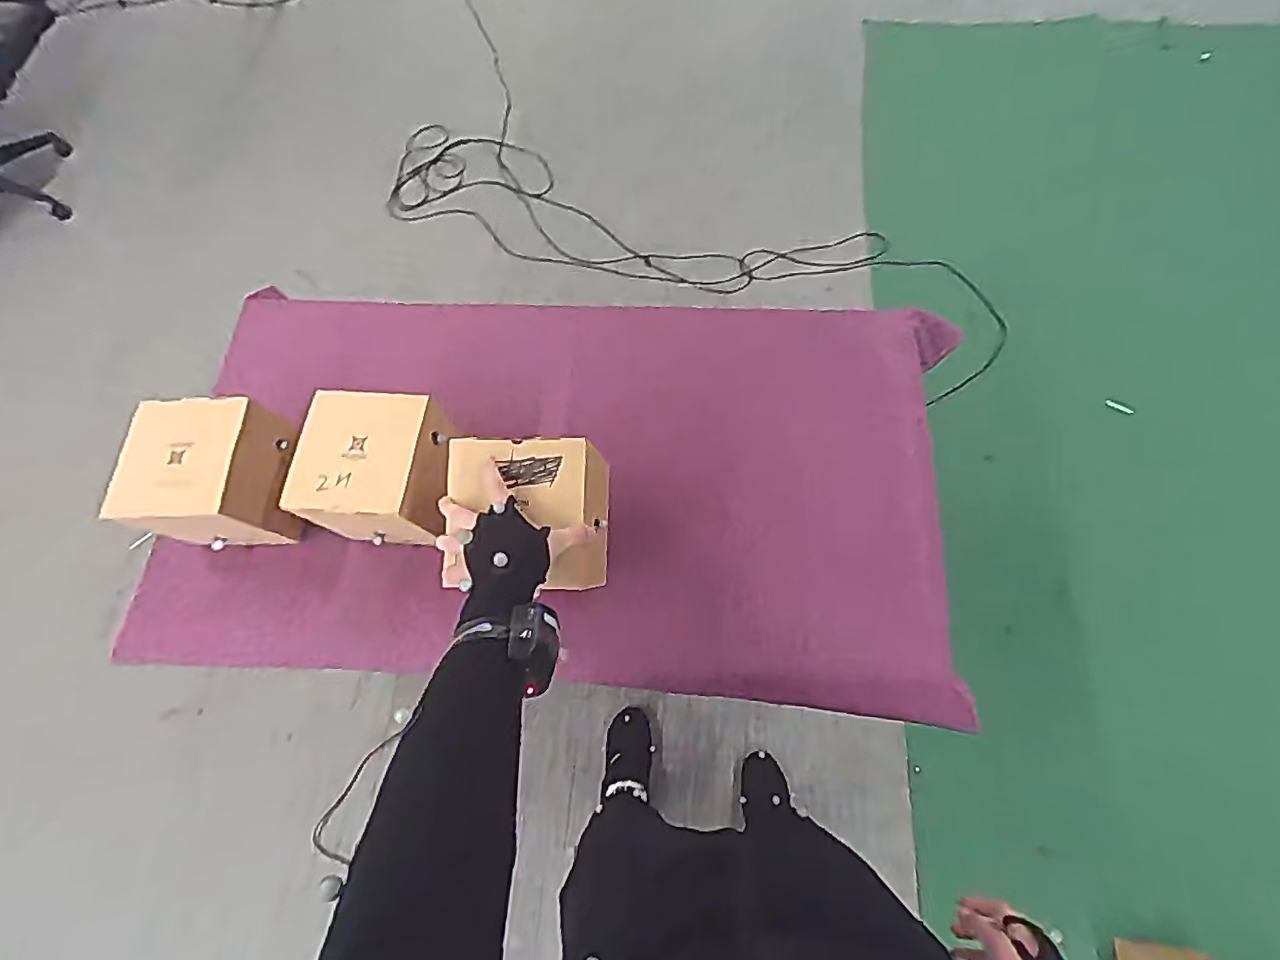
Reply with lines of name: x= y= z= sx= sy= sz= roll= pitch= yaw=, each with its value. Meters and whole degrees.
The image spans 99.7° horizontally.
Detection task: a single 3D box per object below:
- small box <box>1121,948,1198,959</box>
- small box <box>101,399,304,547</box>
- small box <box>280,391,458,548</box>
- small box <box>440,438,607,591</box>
small box: x=1.110 y=1.074 z=1.075 sx=0.179 sy=0.176 sz=0.168 roll=5 pitch=70 yaw=5
small box: x=-0.622 y=-0.004 z=0.809 sx=0.168 sy=0.176 sz=0.179 roll=-1 pitch=70 yaw=4
small box: x=-0.373 y=-0.009 z=0.794 sx=0.168 sy=0.176 sz=0.179 roll=4 pitch=70 yaw=5
small box: x=-0.138 y=0.050 z=0.702 sx=0.168 sy=0.176 sz=0.179 roll=0 pitch=82 yaw=7
